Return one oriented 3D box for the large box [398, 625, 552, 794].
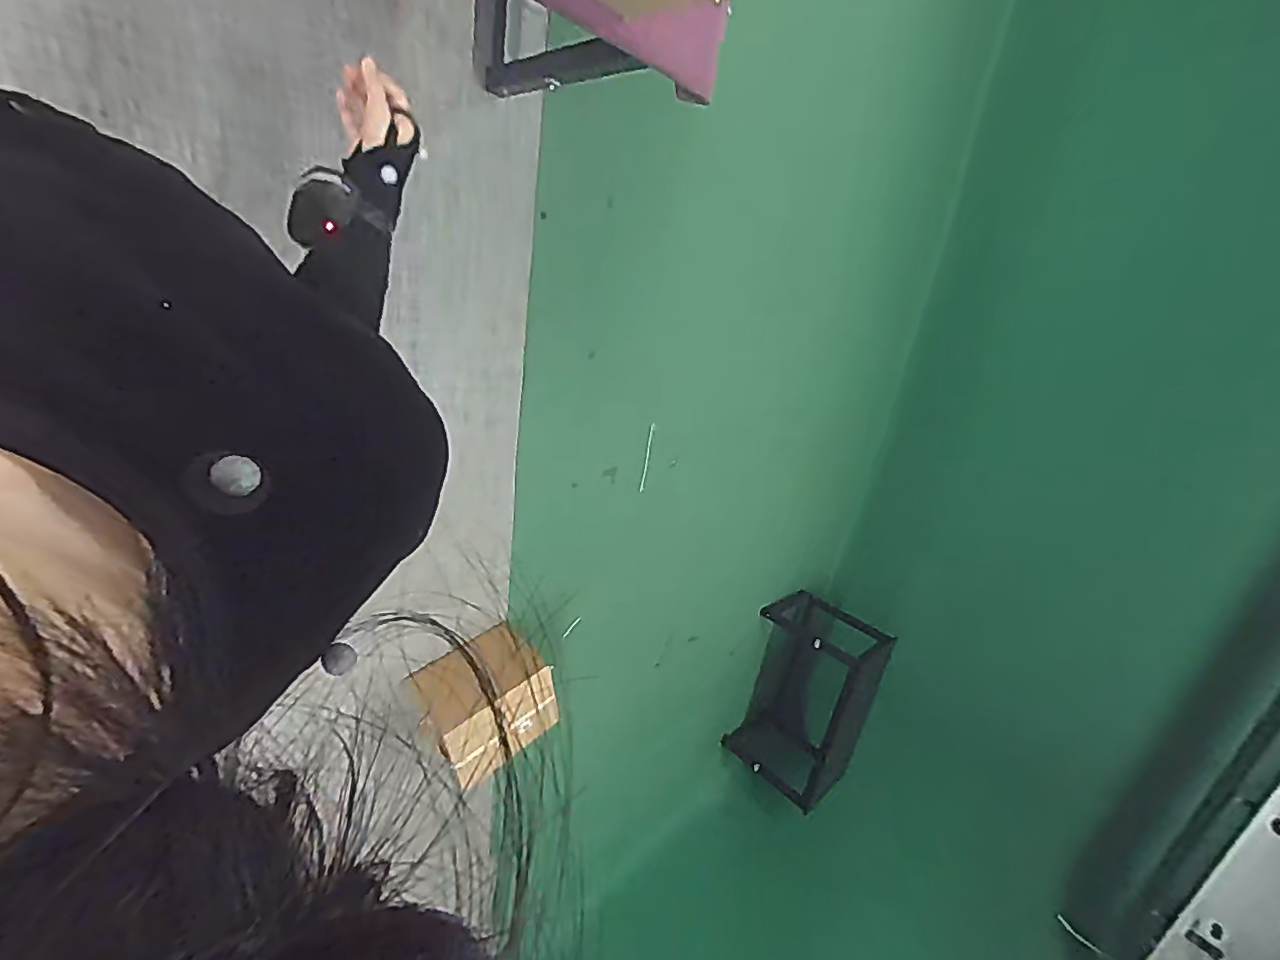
[{"bbox_3d":[-0.583,0.805,1.947,0.408,0.320,0.320,-27,129,-37],"label":"large box"}]
